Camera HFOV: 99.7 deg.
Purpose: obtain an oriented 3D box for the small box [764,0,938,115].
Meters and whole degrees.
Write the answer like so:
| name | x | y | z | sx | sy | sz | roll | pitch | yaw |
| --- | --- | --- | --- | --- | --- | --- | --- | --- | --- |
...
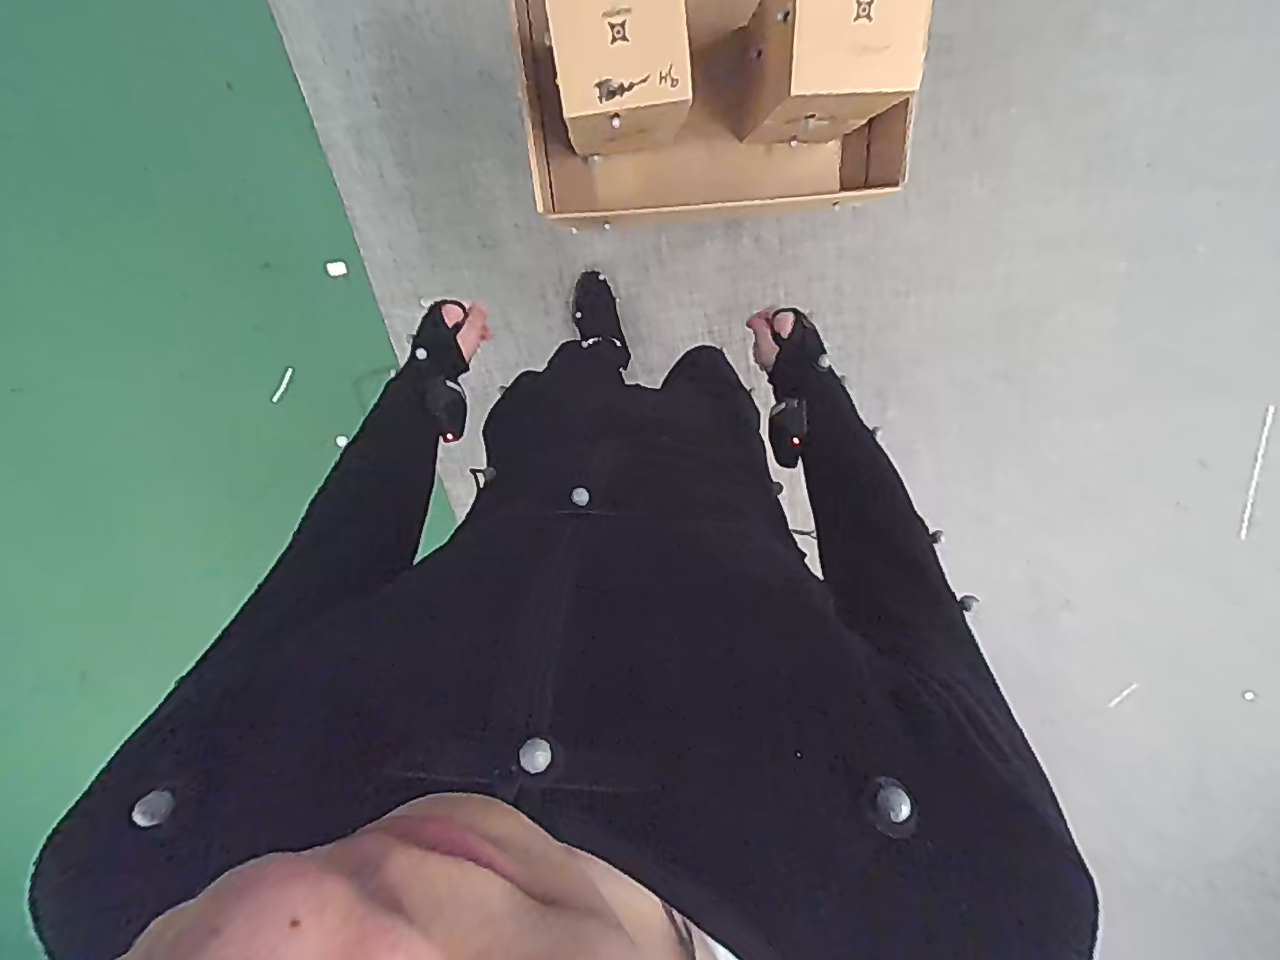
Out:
| name | x | y | z | sx | sy | sz | roll | pitch | yaw |
| --- | --- | --- | --- | --- | --- | --- | --- | --- | --- |
| small box | 0.266 | -0.600 | 0.706 | 0.168 | 0.176 | 0.179 | -2 | 113 | -1 |

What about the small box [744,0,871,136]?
| name | x | y | z | sx | sy | sz | roll | pitch | yaw |
| --- | --- | --- | --- | --- | --- | --- | --- | --- | --- |
| small box | 0.265 | -0.665 | 0.856 | 0.168 | 0.176 | 0.179 | -1 | 114 | -1 |

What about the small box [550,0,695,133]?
| name | x | y | z | sx | sy | sz | roll | pitch | yaw |
| --- | --- | --- | --- | --- | --- | --- | --- | --- | --- |
| small box | -0.026 | -0.578 | 0.703 | 0.168 | 0.176 | 0.179 | -7 | 113 | 1 |
